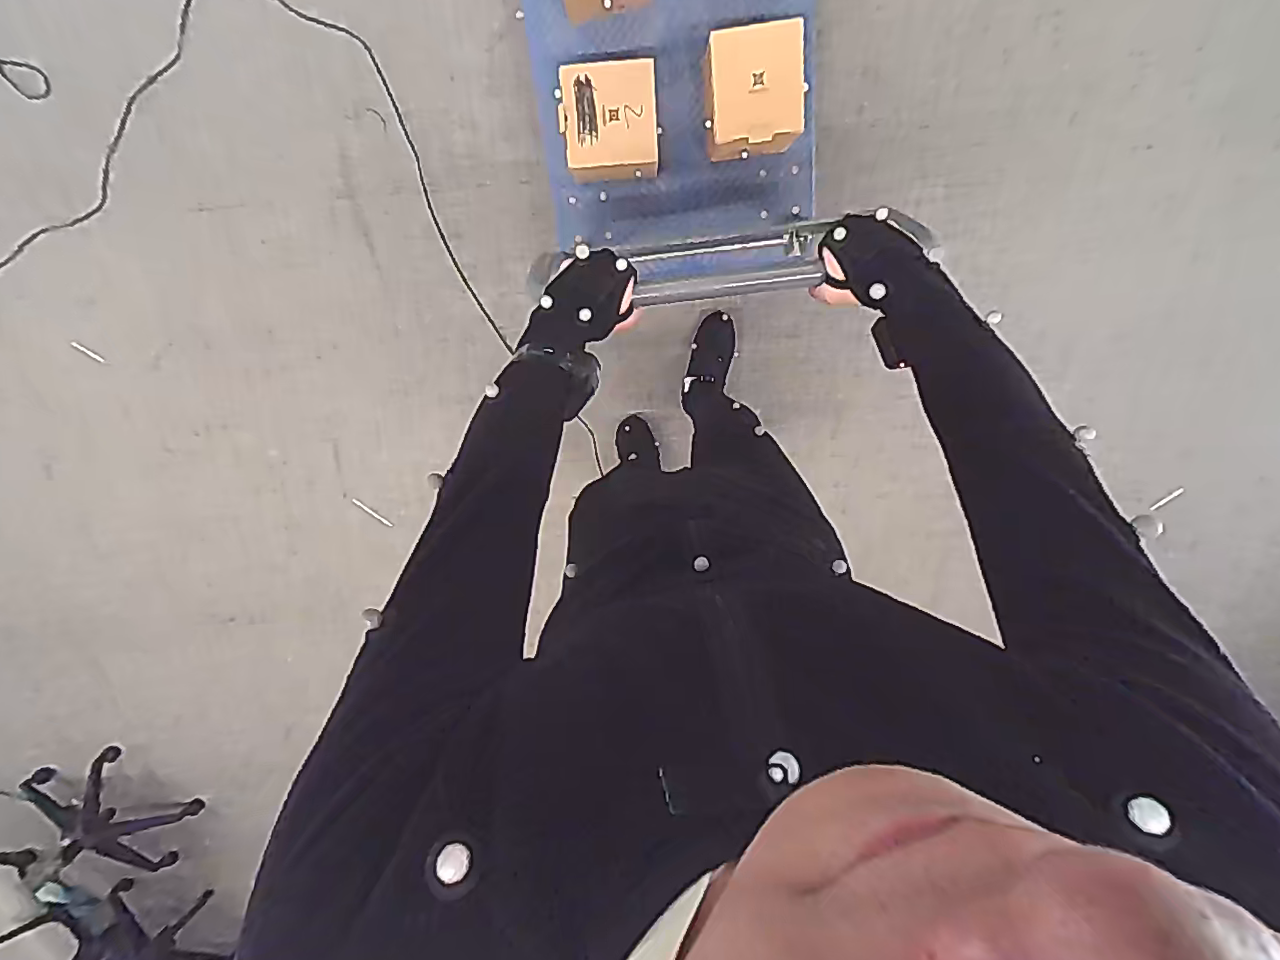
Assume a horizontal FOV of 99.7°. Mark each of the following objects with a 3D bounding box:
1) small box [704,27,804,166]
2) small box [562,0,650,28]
[{"bbox_3d":[0.219,-0.741,1.063,0.168,0.176,0.179,-6,111,3],"label":"small box"},{"bbox_3d":[-0.076,-0.969,0.985,0.168,0.176,0.179,-12,109,5],"label":"small box"}]
